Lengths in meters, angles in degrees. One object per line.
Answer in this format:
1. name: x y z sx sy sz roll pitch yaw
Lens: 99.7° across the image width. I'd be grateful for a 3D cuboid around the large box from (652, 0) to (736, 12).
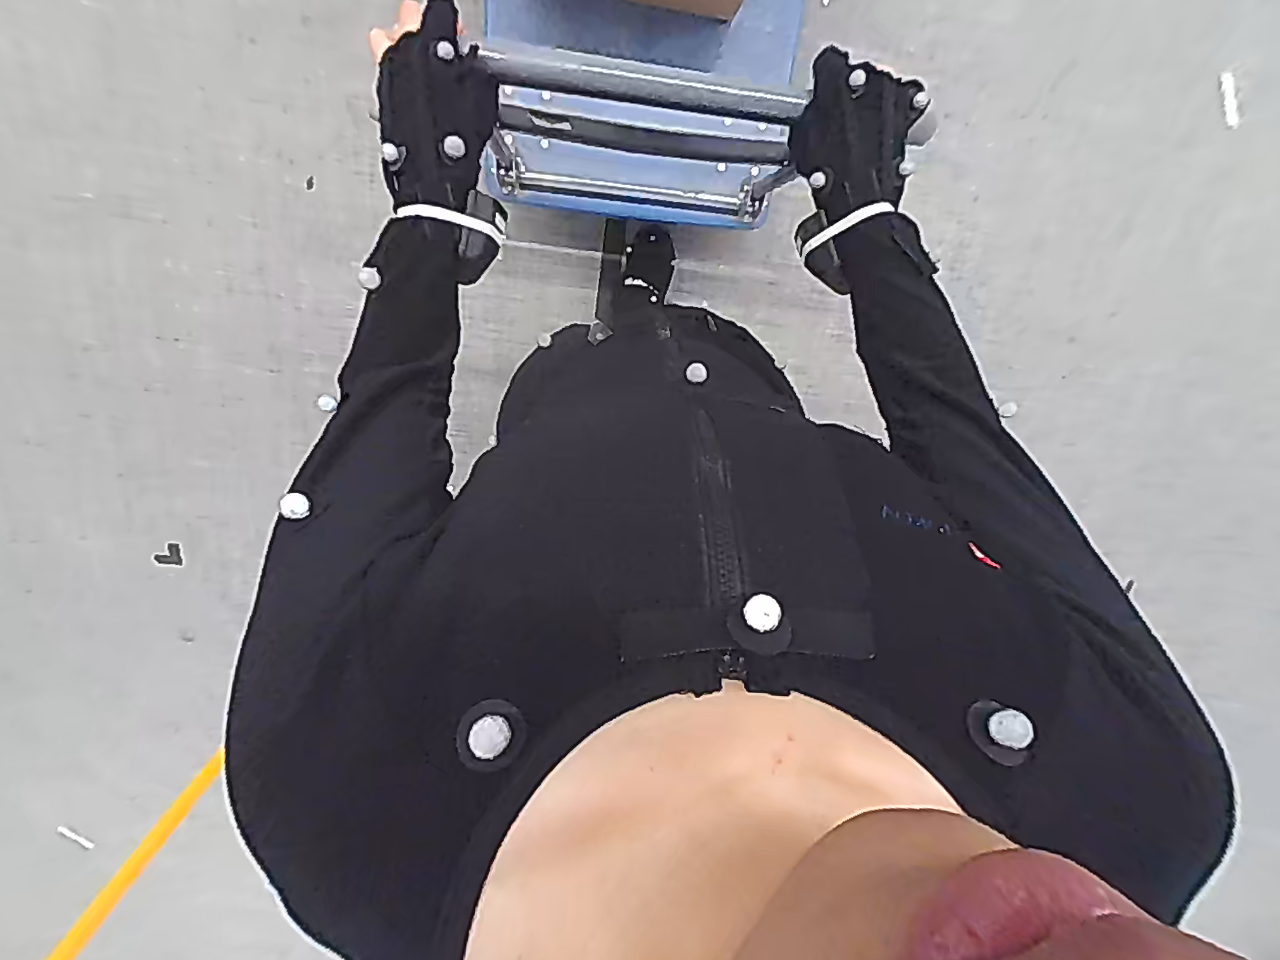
1. large box: -0.001 -0.961 0.793 0.408 0.320 0.320 6 112 -6
